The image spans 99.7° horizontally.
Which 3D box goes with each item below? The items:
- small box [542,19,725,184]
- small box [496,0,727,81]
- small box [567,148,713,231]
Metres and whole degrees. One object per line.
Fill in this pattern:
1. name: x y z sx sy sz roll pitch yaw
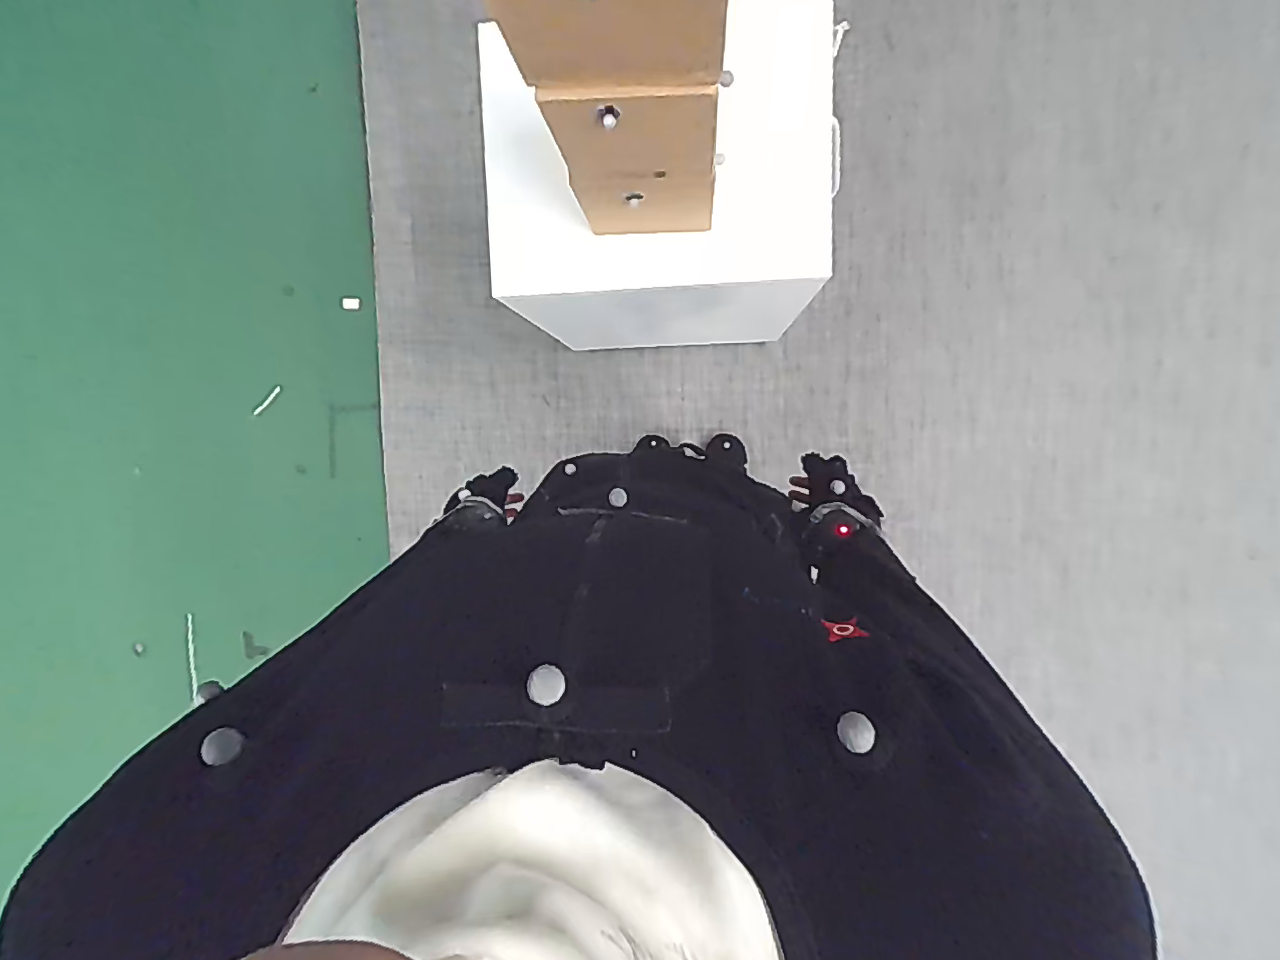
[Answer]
1. small box: -0.002 -0.434 0.555 0.168 0.176 0.179 -1 95 5
2. small box: -0.021 -0.425 0.391 0.179 0.176 0.168 3 97 5
3. small box: 0.008 -0.444 0.715 0.179 0.176 0.168 1 95 6
